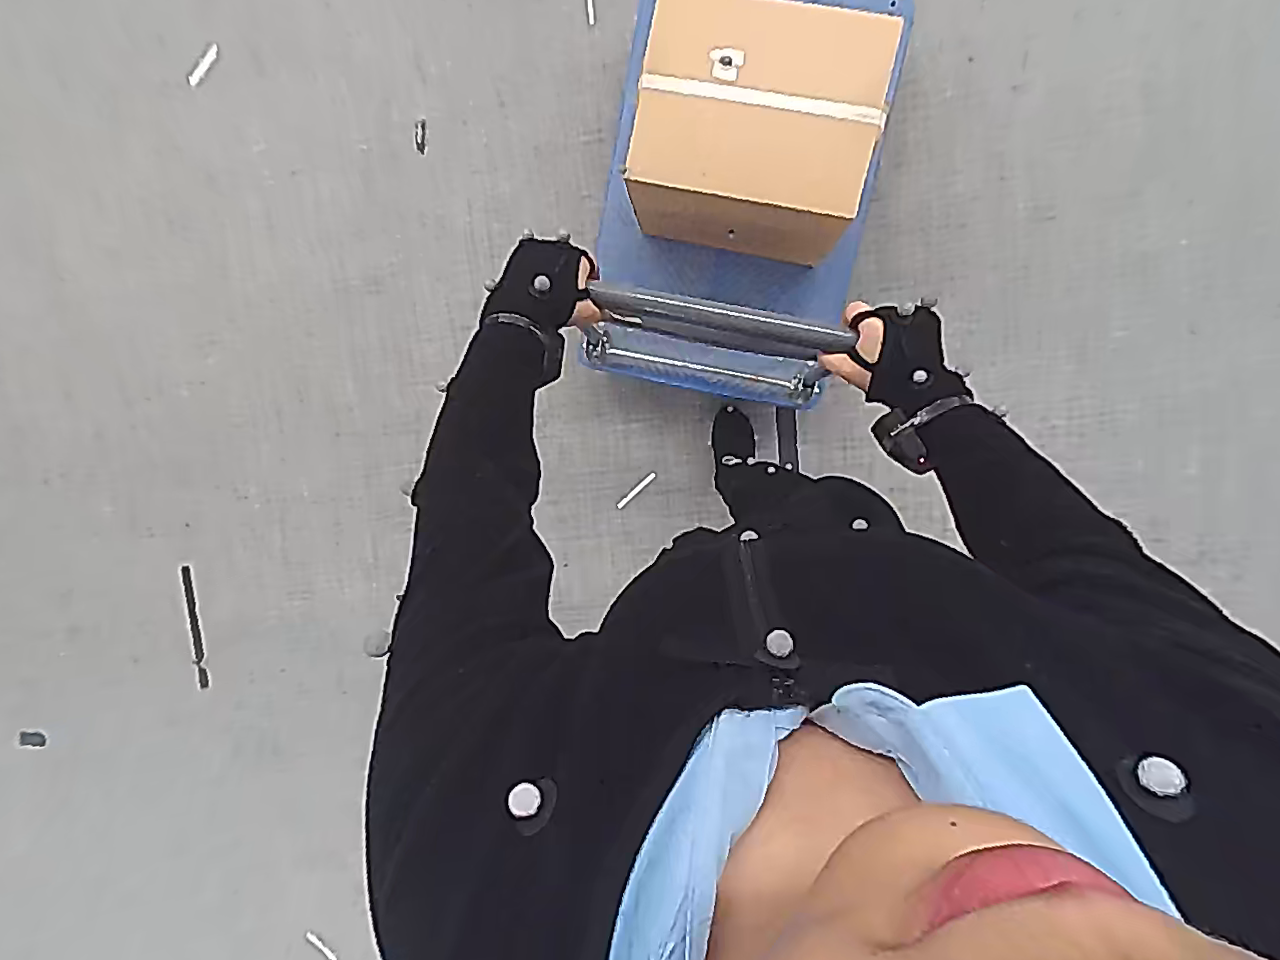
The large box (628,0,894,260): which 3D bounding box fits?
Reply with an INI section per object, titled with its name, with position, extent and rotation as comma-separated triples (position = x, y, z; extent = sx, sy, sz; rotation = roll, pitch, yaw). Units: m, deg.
[large box]
position = 0.218, -0.660, 1.072
extent = 0.408, 0.320, 0.320
rotation = 12, 97, 6
